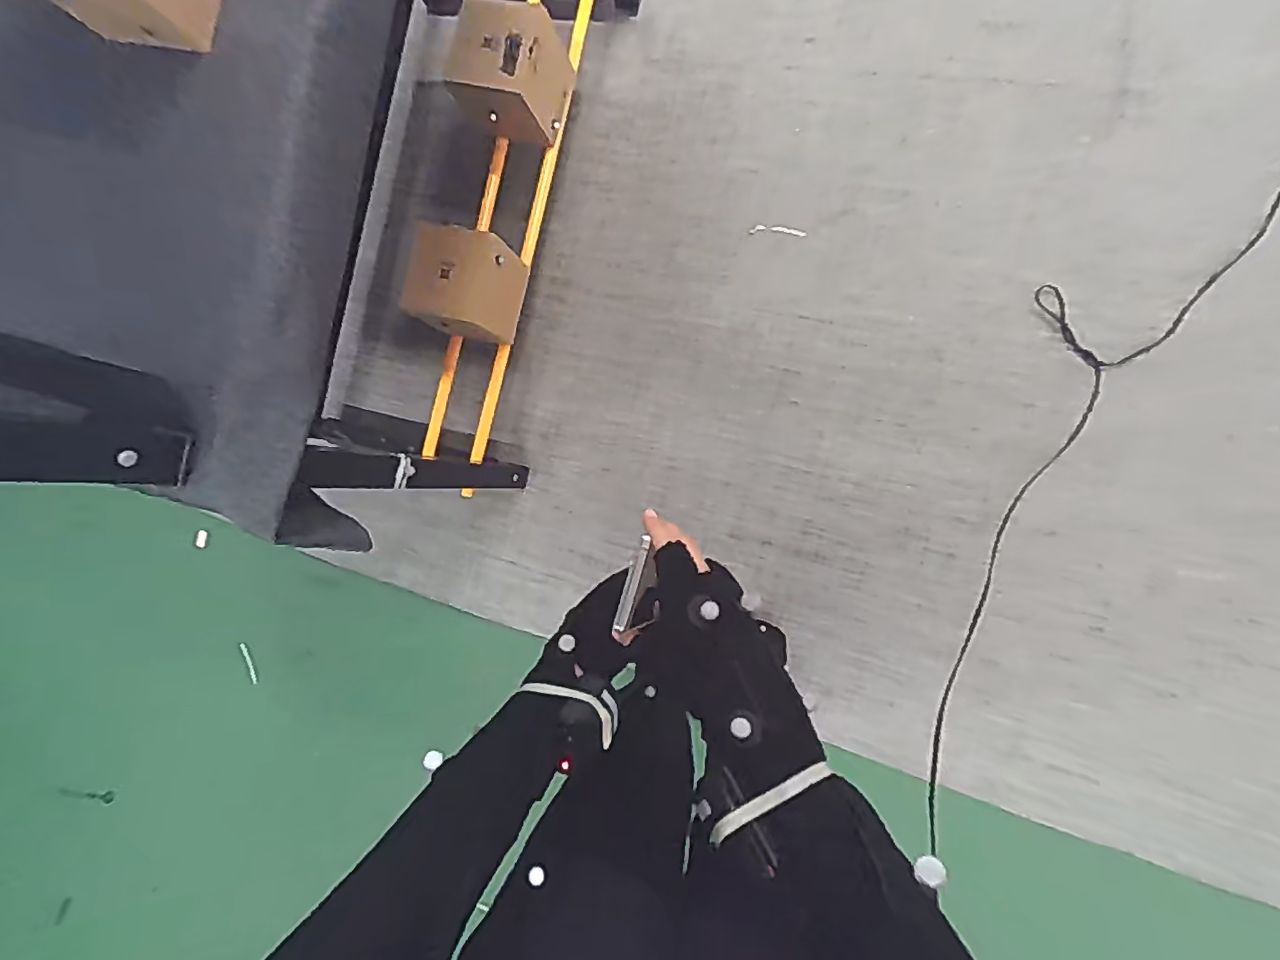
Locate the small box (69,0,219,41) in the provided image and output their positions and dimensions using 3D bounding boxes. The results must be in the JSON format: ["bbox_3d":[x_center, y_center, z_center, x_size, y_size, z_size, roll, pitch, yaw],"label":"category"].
[{"bbox_3d":[-0.520,-0.562,0.506,0.168,0.176,0.179,18,93,14],"label":"small box"}]

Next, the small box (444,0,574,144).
[{"bbox_3d":[-0.253,-0.813,1.088,0.179,0.176,0.168,18,93,14],"label":"small box"}]
